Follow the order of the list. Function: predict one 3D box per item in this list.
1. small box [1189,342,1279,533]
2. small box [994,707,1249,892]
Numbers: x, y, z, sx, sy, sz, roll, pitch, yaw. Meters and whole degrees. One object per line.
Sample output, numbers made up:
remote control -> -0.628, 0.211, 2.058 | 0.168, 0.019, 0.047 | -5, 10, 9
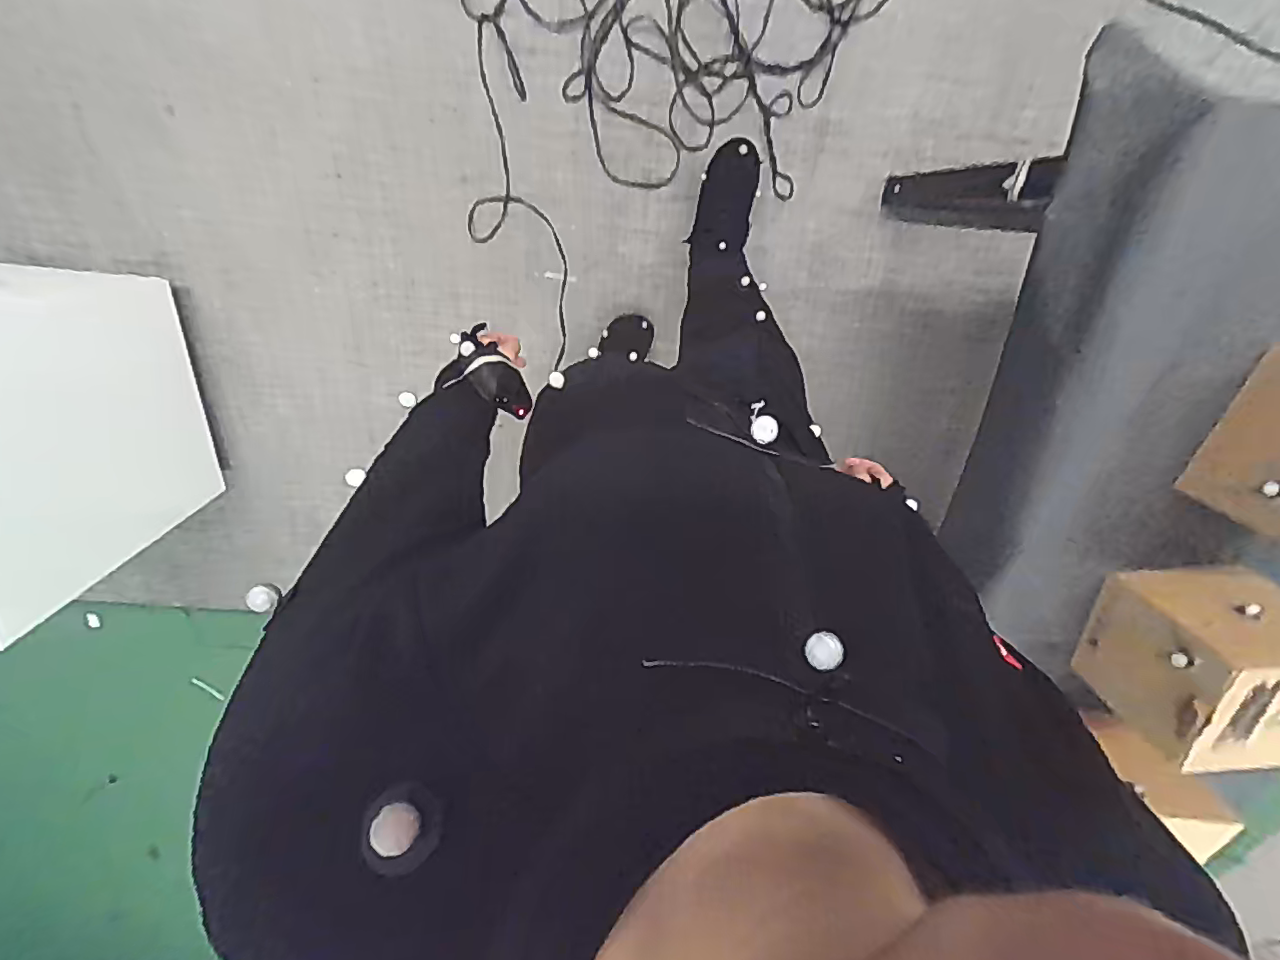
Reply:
small box -> 0.726, -0.025, 0.538 | 0.168, 0.176, 0.179 | 7, 116, -7
small box -> 0.669, 0.453, 0.778 | 0.179, 0.176, 0.168 | 8, 116, -6
